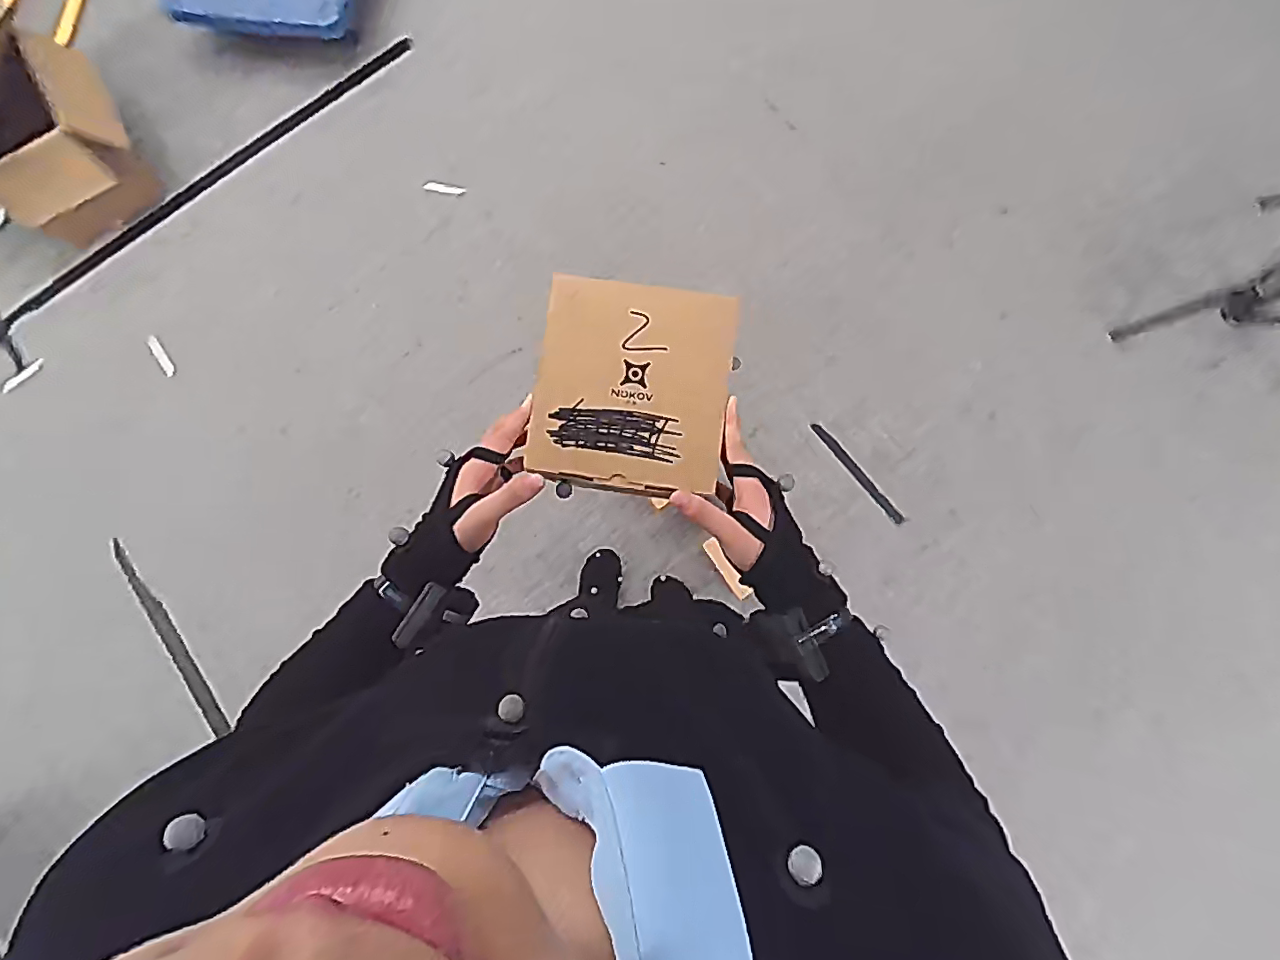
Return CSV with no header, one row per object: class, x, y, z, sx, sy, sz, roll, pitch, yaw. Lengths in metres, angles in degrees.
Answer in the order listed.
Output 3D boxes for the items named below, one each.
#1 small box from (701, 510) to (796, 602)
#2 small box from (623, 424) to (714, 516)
small box,0.273,0.197,1.403,0.179,0.176,0.168,-33,82,-3
small box,0.074,-0.021,1.450,0.179,0.176,0.168,-36,81,-2
